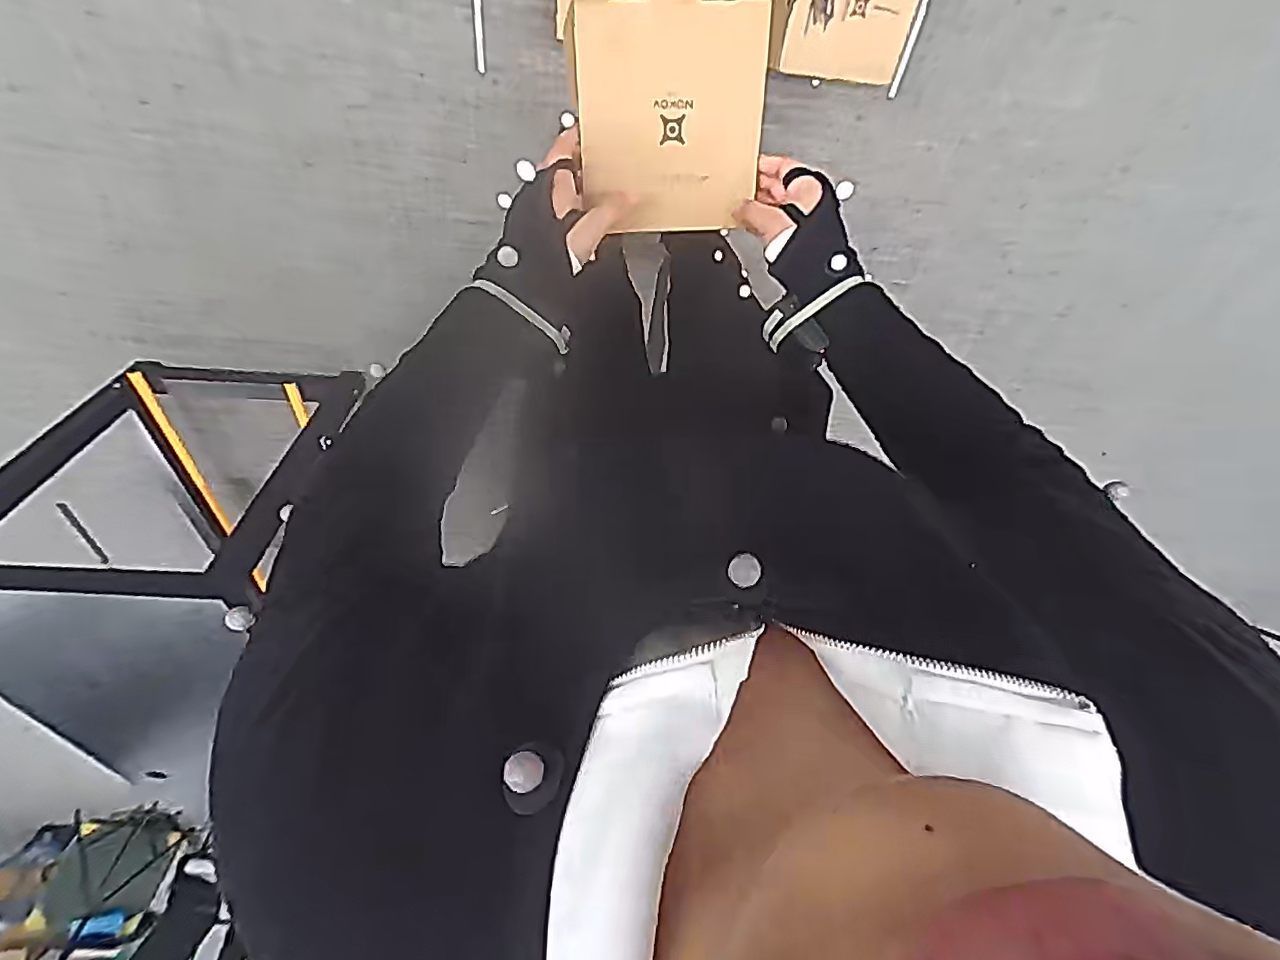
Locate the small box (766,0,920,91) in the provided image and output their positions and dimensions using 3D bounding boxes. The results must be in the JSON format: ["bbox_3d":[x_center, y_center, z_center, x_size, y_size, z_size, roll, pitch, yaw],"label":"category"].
[{"bbox_3d":[0.286,-0.690,0.790,0.179,0.176,0.168,3,133,-6],"label":"small box"}]

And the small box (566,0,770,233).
[{"bbox_3d":[0.016,-0.360,0.548,0.168,0.176,0.179,-5,124,-7],"label":"small box"}]
